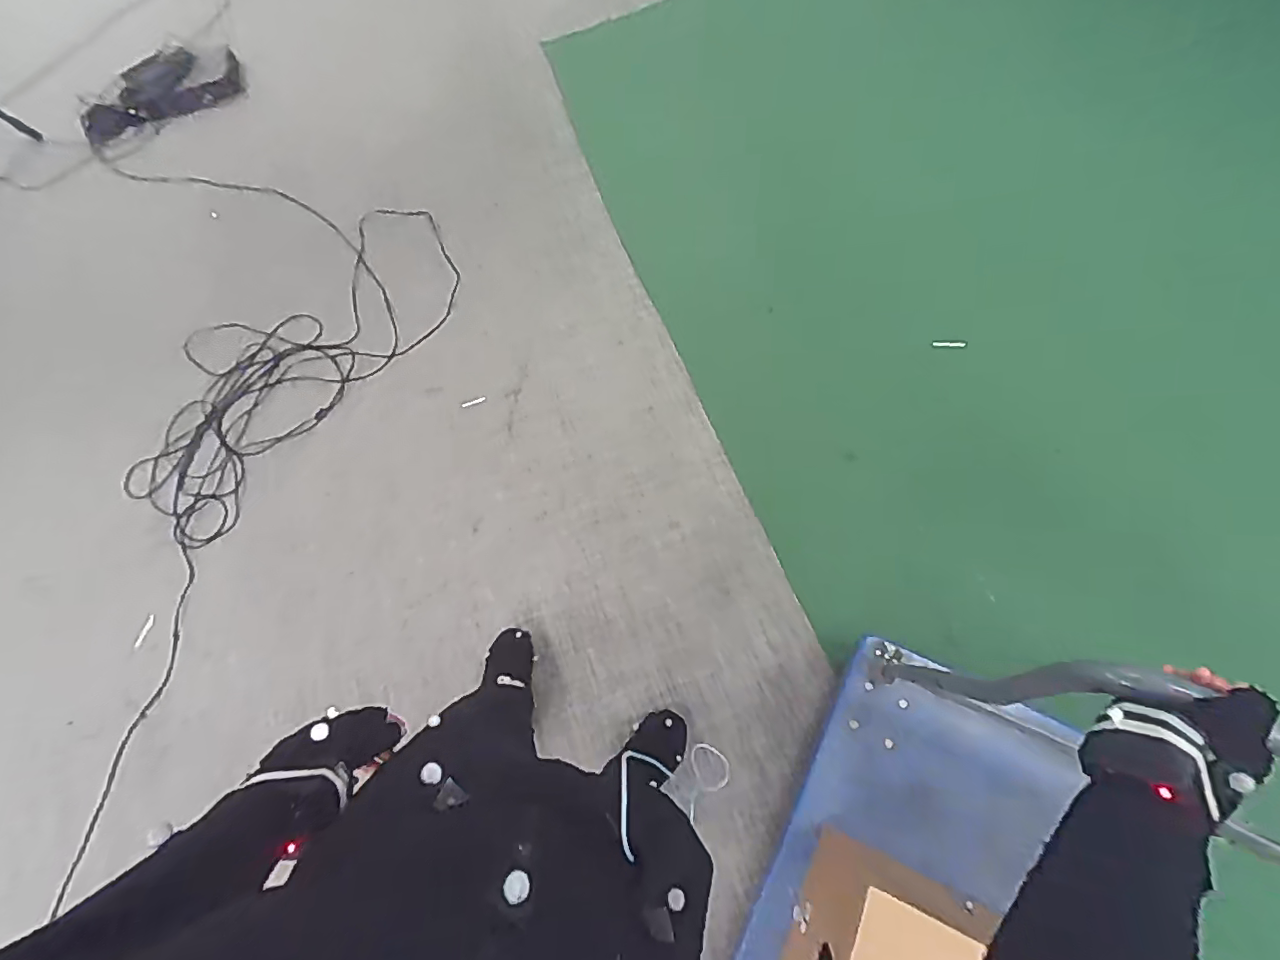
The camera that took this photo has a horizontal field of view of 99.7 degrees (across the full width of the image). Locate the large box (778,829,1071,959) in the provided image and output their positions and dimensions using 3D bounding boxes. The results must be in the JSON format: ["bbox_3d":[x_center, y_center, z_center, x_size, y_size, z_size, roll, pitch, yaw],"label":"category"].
[{"bbox_3d":[0.439,0.798,0.792,0.408,0.320,0.320,22,75,12],"label":"large box"}]
